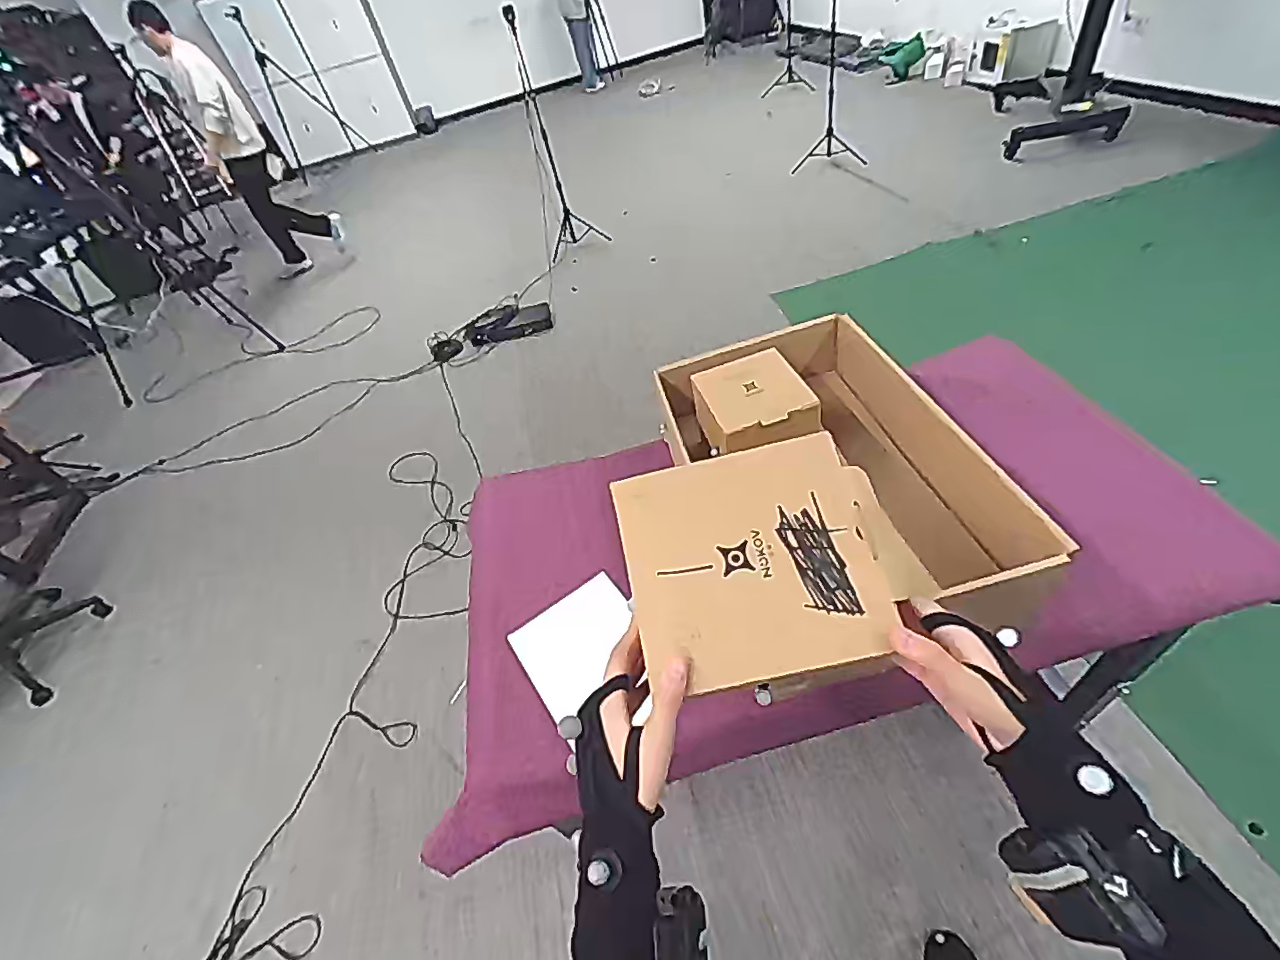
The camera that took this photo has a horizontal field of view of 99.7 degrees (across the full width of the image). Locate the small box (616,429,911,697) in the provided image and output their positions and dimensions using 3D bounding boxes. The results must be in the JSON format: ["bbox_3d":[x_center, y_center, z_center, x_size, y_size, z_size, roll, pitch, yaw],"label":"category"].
[{"bbox_3d":[0.087,0.080,0.455,0.179,0.176,0.168,-12,66,2],"label":"small box"}]
